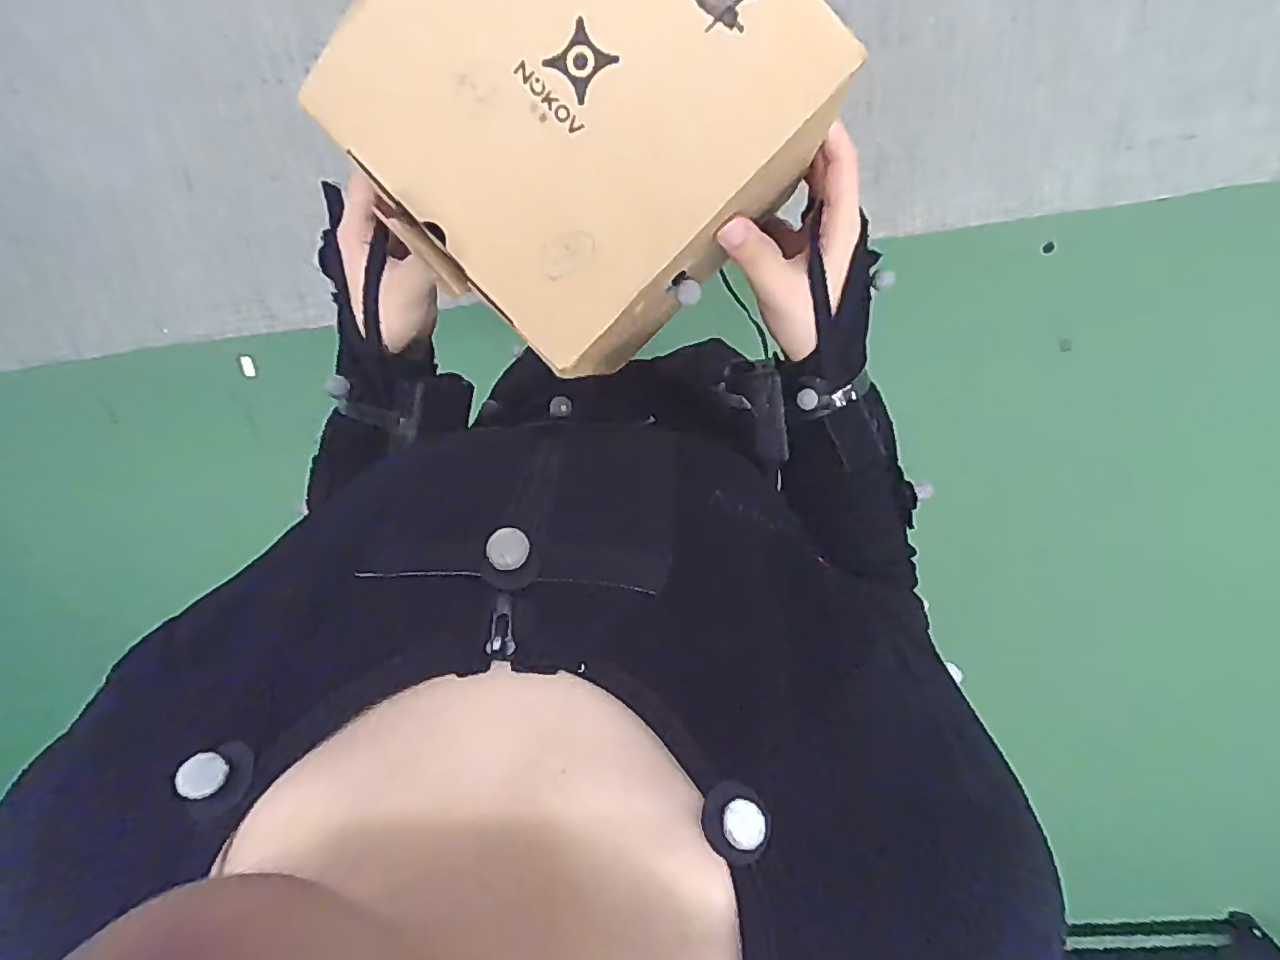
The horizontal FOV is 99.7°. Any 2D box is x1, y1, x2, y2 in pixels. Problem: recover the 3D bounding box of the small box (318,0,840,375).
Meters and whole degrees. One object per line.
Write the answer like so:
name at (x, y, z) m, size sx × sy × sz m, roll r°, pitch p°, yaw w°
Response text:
small box at (-0.022, -0.178, 0.309) m, size 0.179 × 0.176 × 0.168 m, roll -43°, pitch 94°, yaw 13°
